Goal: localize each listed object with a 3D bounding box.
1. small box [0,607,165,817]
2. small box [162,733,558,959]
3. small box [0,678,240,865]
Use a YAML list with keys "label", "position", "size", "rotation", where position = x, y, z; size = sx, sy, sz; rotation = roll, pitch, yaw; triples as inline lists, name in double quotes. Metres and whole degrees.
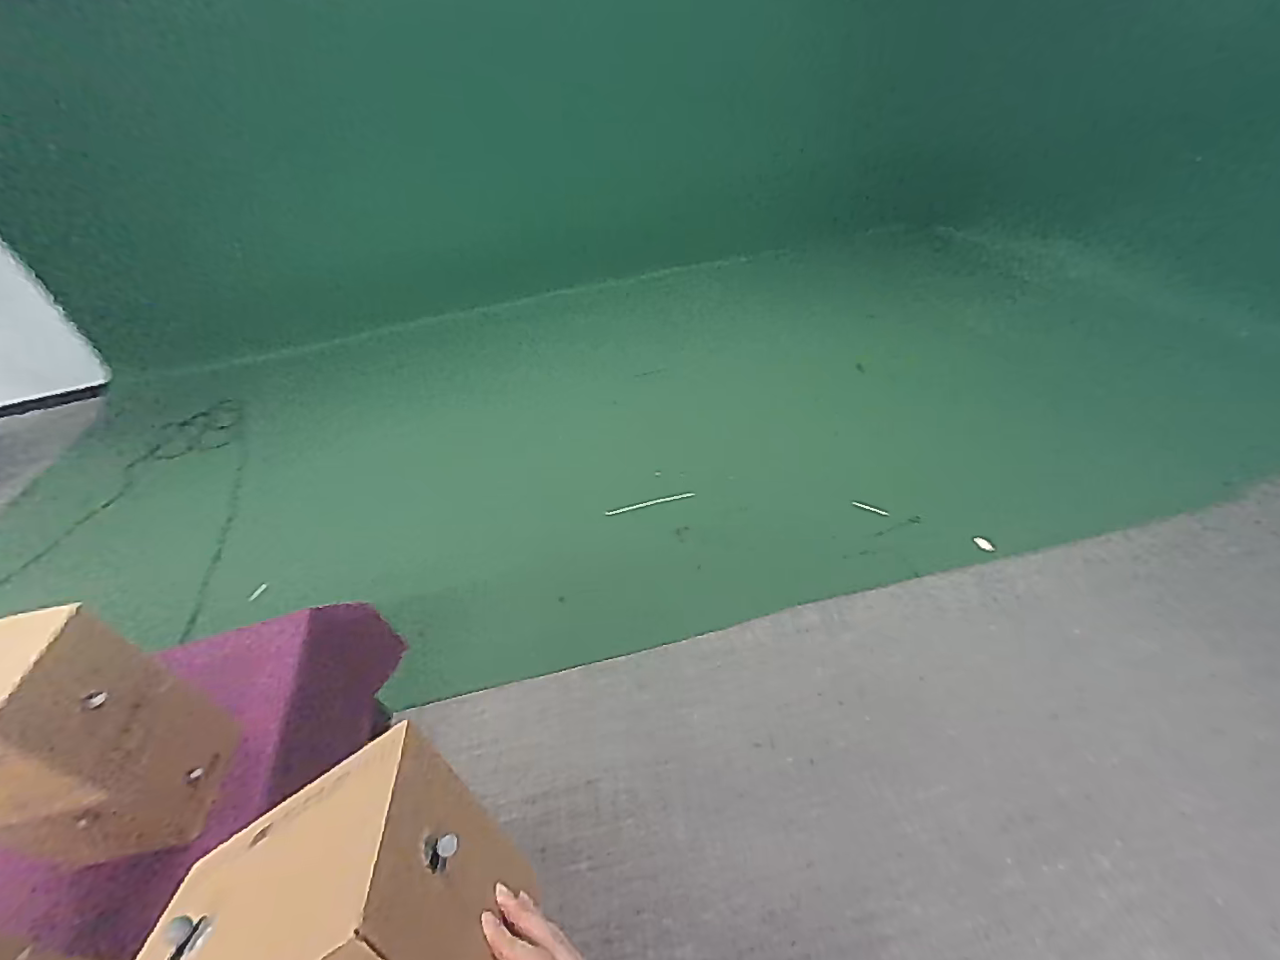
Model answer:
- label: "small box"
  position: [-0.750, 0.286, 0.659]
  size: [0.179, 0.176, 0.168]
  rotation: [-13, 39, -3]
- label: "small box"
  position: [-0.163, 0.292, 0.334]
  size: [0.168, 0.179, 0.176]
  rotation: [-31, 15, -8]
- label: "small box"
  position: [-0.728, 0.412, 0.763]
  size: [0.179, 0.176, 0.168]
  rotation: [-11, 40, -3]
